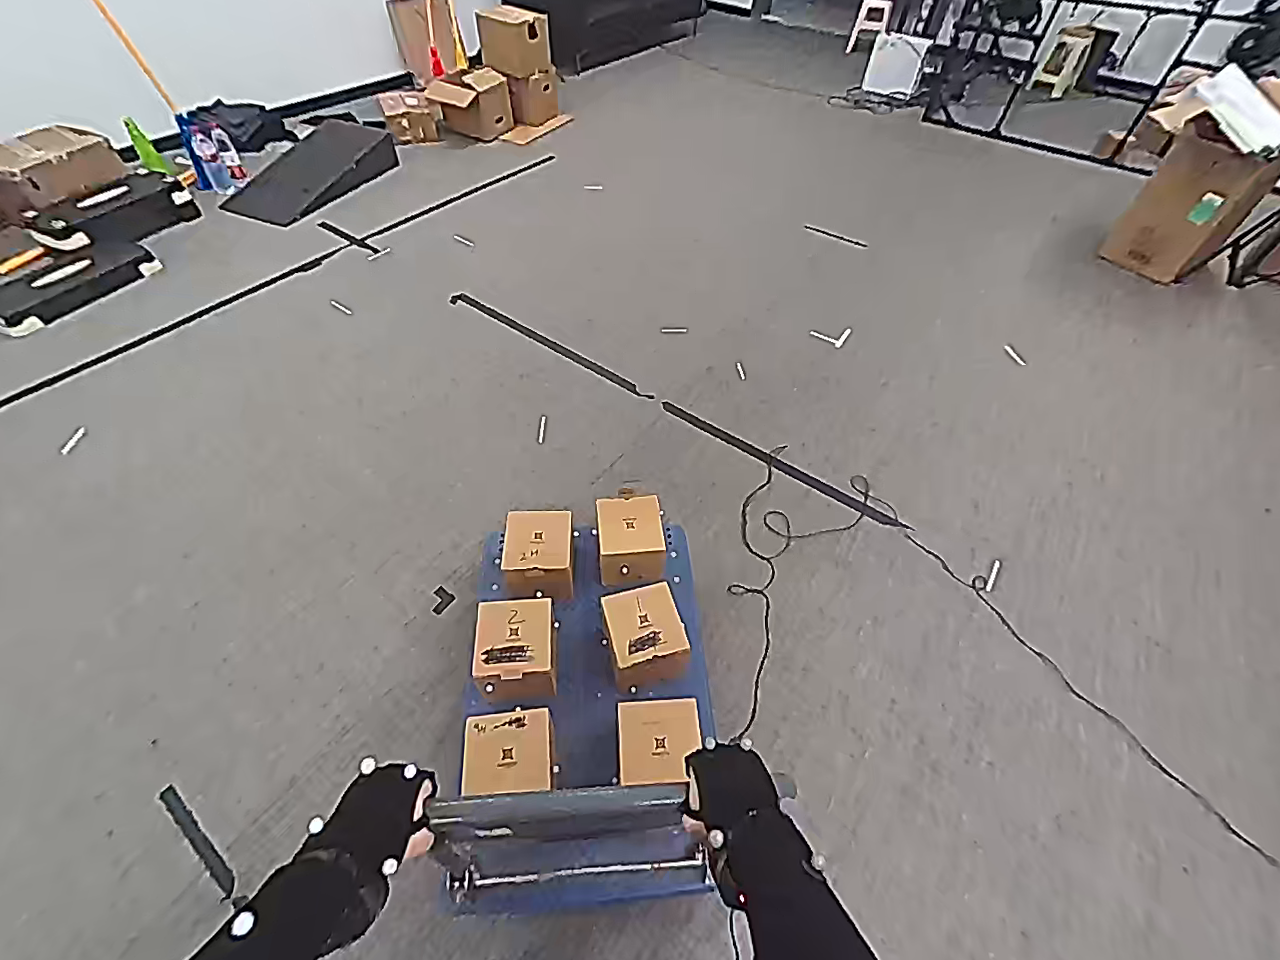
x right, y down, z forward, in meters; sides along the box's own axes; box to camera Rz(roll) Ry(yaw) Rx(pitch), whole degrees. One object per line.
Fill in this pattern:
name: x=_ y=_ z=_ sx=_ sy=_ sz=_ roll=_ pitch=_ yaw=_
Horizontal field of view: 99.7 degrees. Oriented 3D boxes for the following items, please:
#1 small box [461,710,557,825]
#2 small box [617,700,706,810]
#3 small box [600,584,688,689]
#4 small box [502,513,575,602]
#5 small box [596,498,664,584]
small box: x=-0.259 y=0.590 z=1.101 sx=0.168 sy=0.176 sz=0.179 roll=-4 pitch=51 yaw=-8
small box: x=0.038 y=0.578 z=1.129 sx=0.168 sy=0.176 sz=0.179 roll=-1 pitch=50 yaw=-5
small box: x=0.006 y=0.379 z=1.290 sx=0.168 sy=0.176 sz=0.179 roll=-11 pitch=51 yaw=-12
small box: x=-0.259 y=0.204 z=1.417 sx=0.168 sy=0.176 sz=0.179 roll=0 pitch=51 yaw=-3
small box: x=-0.030 y=0.170 z=1.461 sx=0.168 sy=0.176 sz=0.179 roll=-4 pitch=51 yaw=-6
